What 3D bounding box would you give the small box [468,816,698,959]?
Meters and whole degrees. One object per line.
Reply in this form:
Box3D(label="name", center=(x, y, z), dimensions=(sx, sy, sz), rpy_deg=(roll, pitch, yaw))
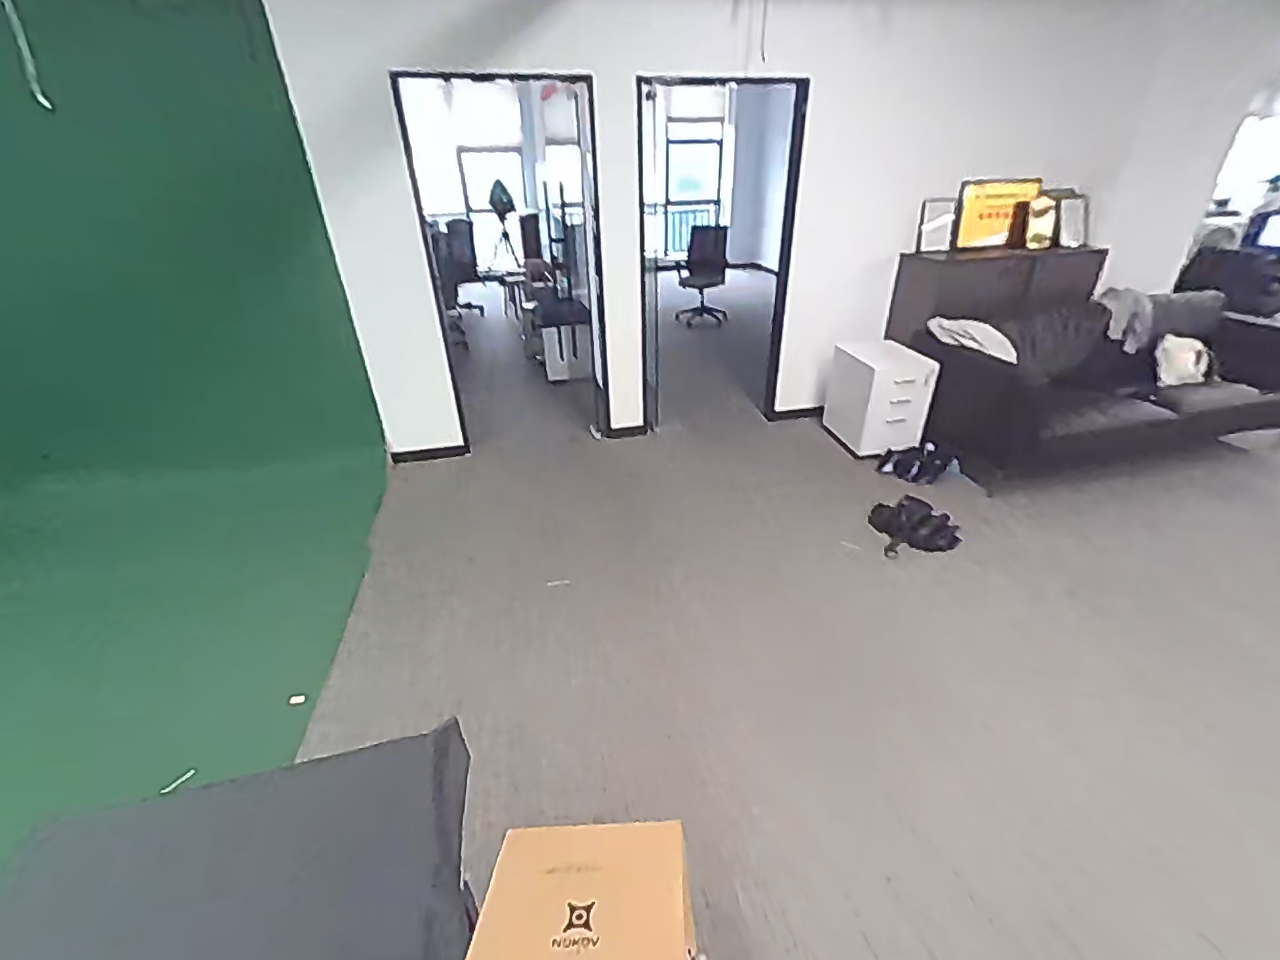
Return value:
Box3D(label="small box", center=(-0.036, 0.416, 0.440), dimensions=(0.168, 0.176, 0.179), rpy_deg=(-4, 14, 4))
